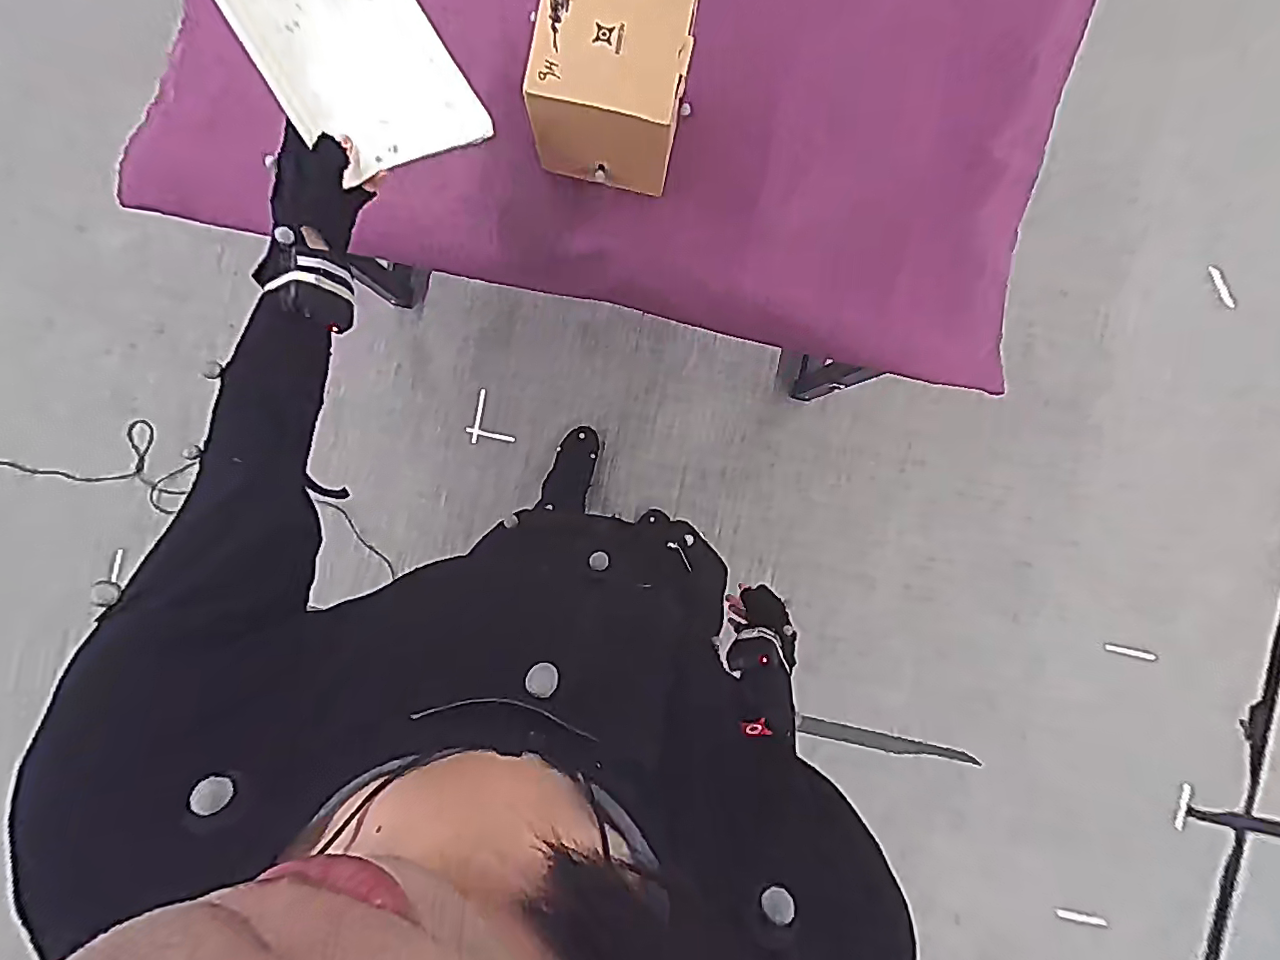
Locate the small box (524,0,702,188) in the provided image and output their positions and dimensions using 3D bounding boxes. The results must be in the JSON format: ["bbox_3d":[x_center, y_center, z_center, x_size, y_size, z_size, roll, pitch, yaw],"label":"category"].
[{"bbox_3d":[-0.033,-0.504,0.688,0.179,0.176,0.168,12,90,-3],"label":"small box"}]
